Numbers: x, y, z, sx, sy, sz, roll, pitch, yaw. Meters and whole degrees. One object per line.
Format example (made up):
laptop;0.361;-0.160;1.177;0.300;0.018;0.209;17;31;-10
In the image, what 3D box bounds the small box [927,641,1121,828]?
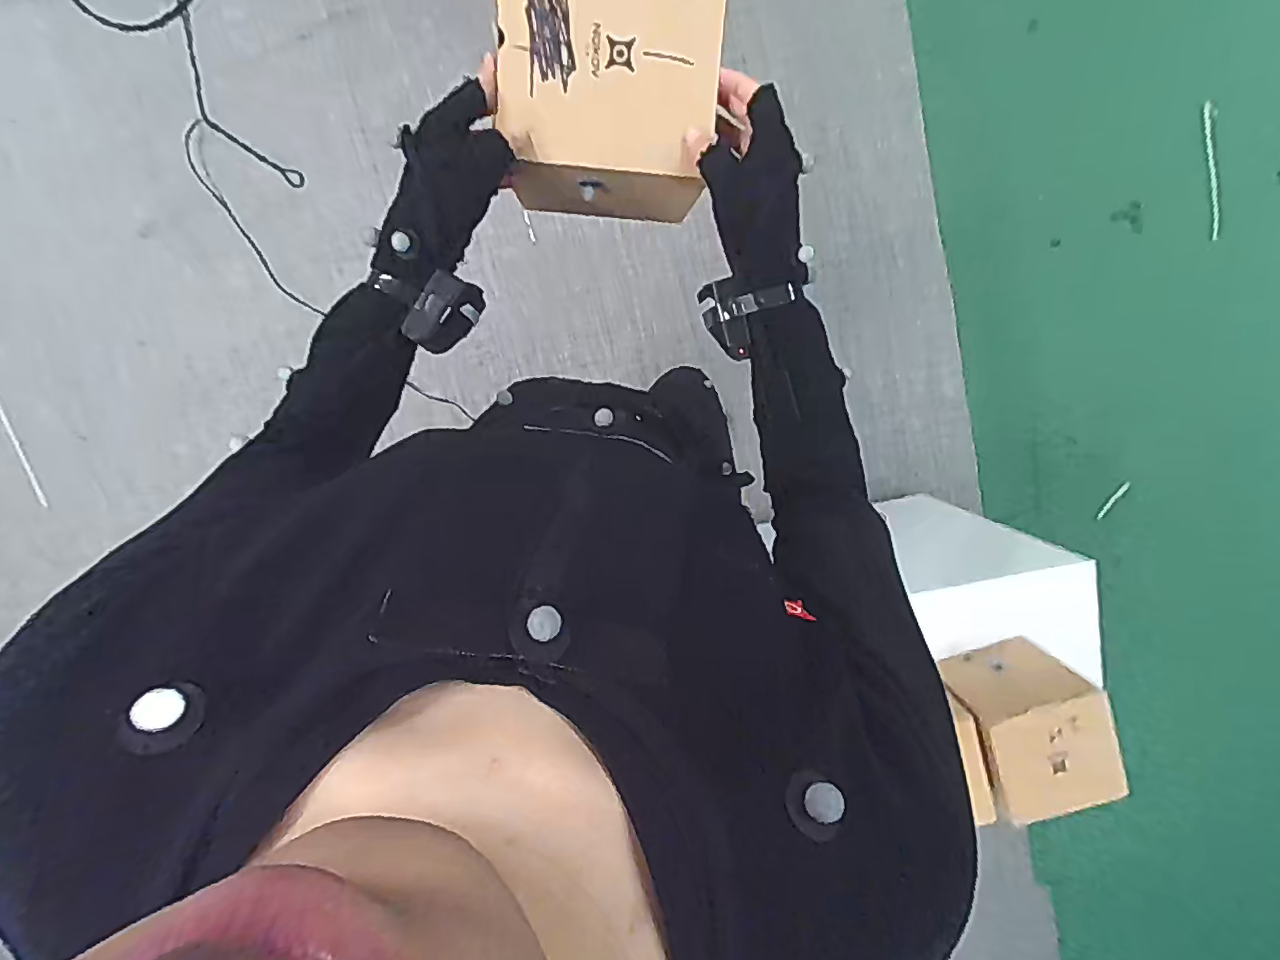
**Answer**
small box;0.578;0.380;0.833;0.168;0.176;0.179;-18;99;3
